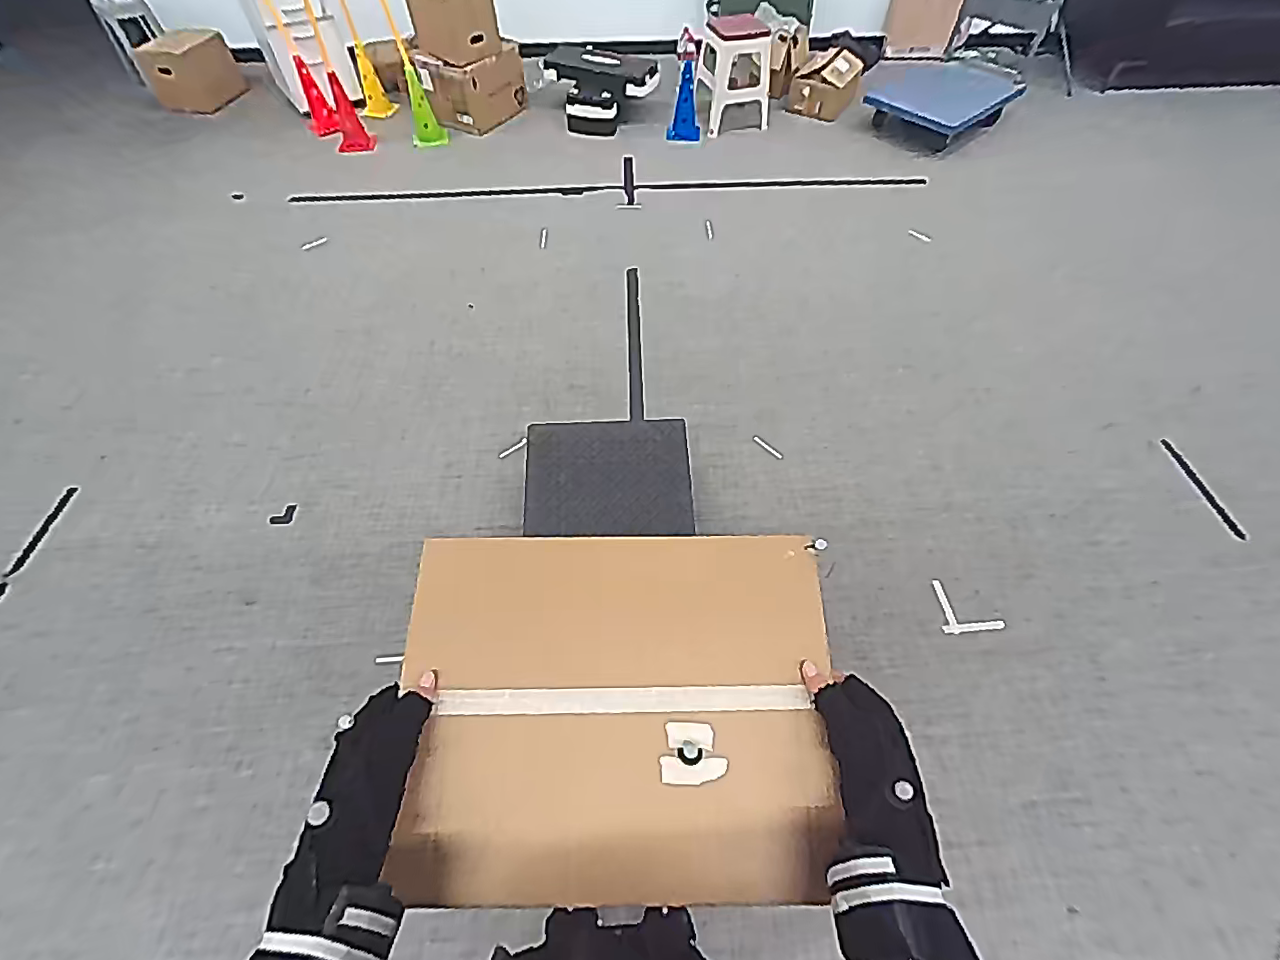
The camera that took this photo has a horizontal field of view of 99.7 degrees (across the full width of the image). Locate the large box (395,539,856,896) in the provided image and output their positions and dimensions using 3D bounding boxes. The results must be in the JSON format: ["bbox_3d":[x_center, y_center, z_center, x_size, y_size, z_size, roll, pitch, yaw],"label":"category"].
[{"bbox_3d":[-0.016,0.269,0.655,0.408,0.320,0.320,-1,66,0],"label":"large box"}]
